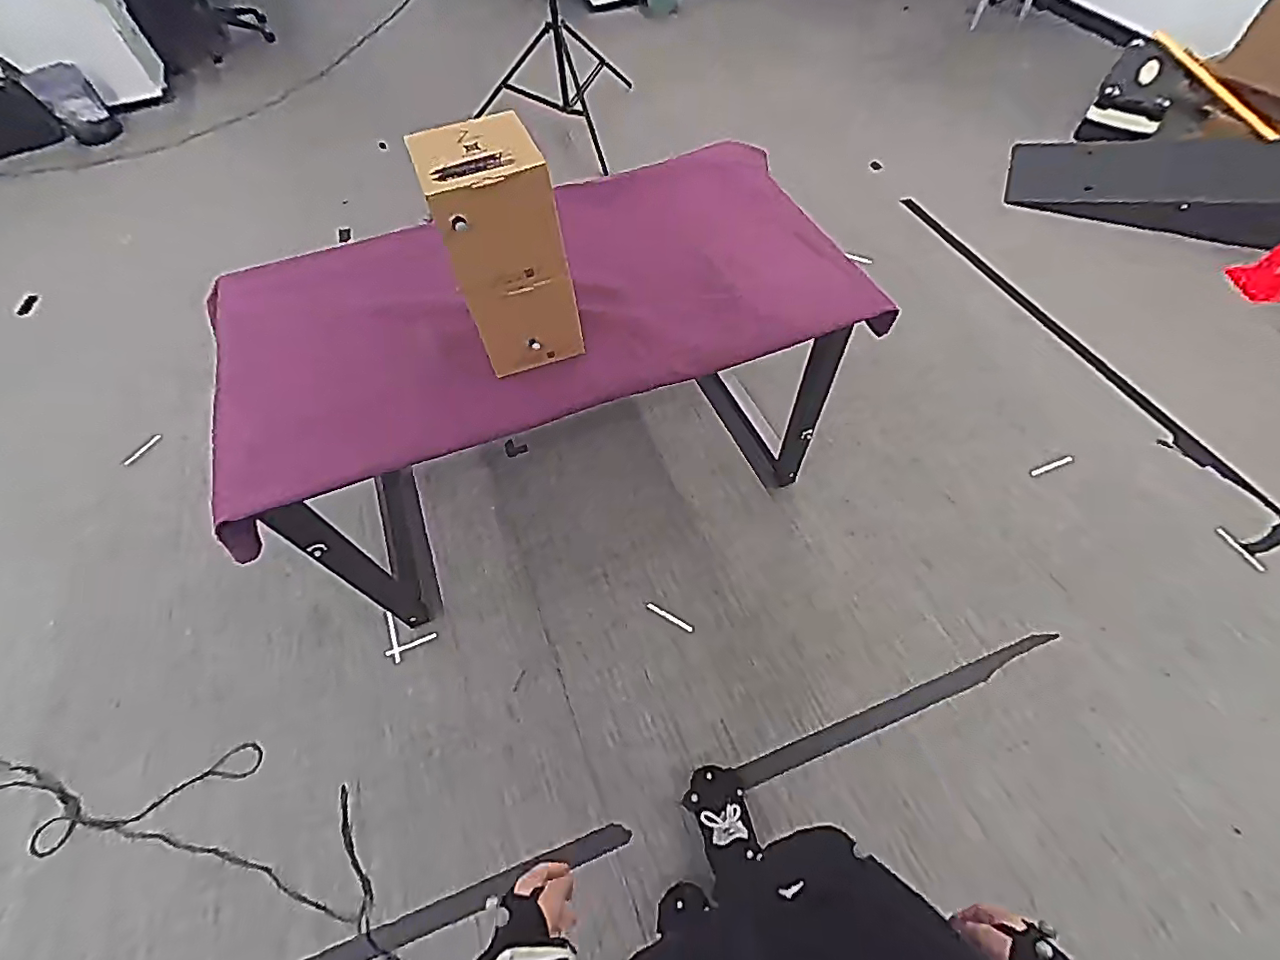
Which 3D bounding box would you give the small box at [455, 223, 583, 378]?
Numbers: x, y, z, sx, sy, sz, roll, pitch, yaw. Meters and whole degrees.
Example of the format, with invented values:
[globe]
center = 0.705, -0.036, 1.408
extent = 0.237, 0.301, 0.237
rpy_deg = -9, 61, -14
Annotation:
[small box]
center = -0.208, -0.312, 0.951
extent = 0.168, 0.176, 0.179
rpy_deg = -18, 59, -7
